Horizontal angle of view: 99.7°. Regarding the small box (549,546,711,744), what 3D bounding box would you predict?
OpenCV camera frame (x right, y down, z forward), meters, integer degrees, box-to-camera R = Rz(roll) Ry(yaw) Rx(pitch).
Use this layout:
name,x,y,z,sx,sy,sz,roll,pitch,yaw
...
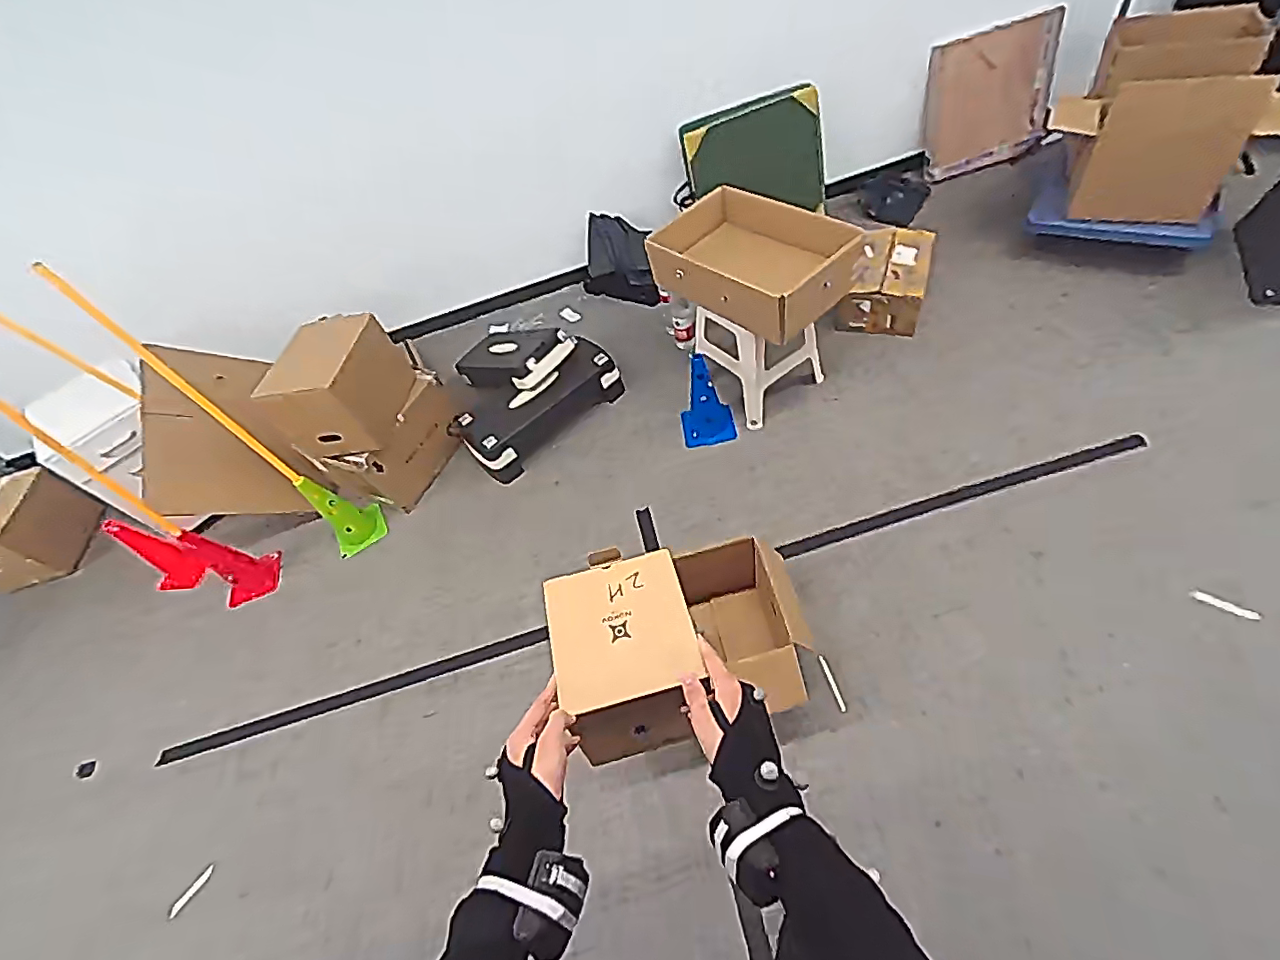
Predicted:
name,x,y,z,sx,sy,sz,roll,pitch,yaw
small box,-0.011,0.219,0.697,0.168,0.176,0.179,-14,46,-3
